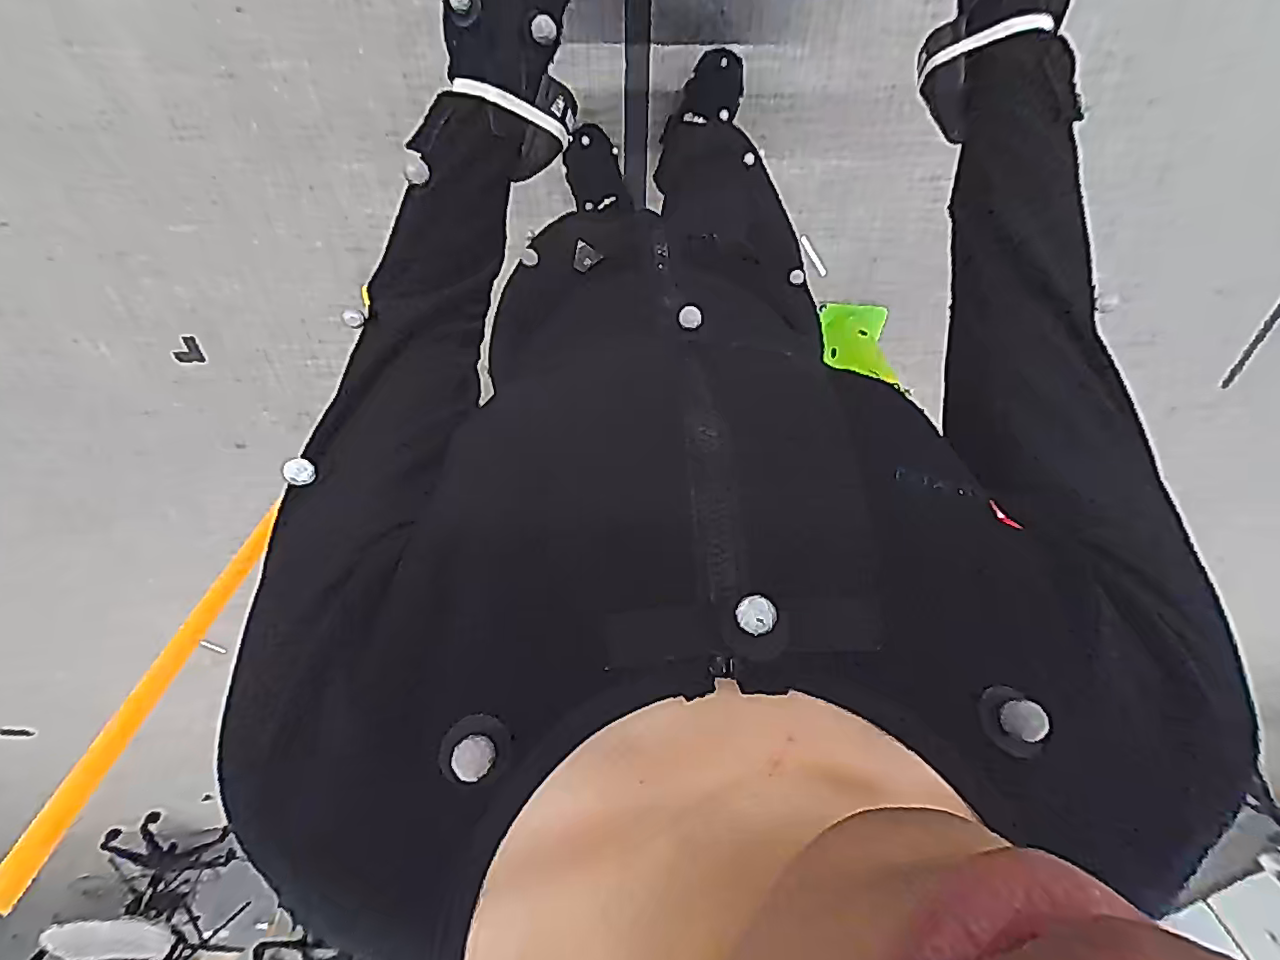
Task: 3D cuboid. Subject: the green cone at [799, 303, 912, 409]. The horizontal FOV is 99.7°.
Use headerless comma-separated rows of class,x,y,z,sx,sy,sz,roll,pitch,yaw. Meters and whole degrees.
green cone,0.567,-0.280,1.350,0.202,0.368,0.200,0,128,-7
